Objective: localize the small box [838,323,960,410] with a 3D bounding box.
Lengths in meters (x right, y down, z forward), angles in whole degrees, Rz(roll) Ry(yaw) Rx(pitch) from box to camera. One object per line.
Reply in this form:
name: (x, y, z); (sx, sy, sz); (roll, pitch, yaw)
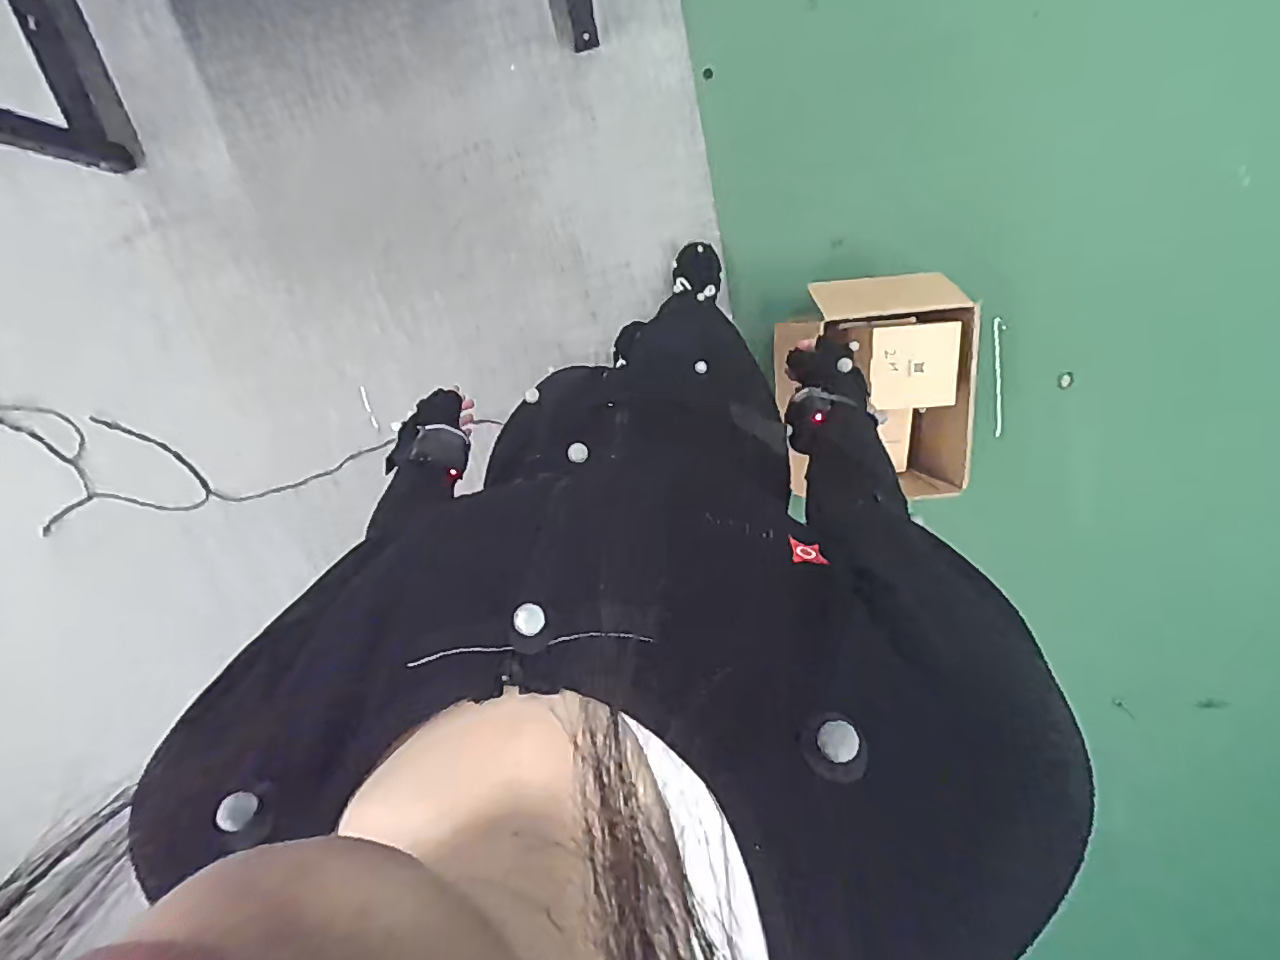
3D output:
small box: (0.544, -0.247, 1.157); (0.179, 0.176, 0.168); (-4, 106, 1)
